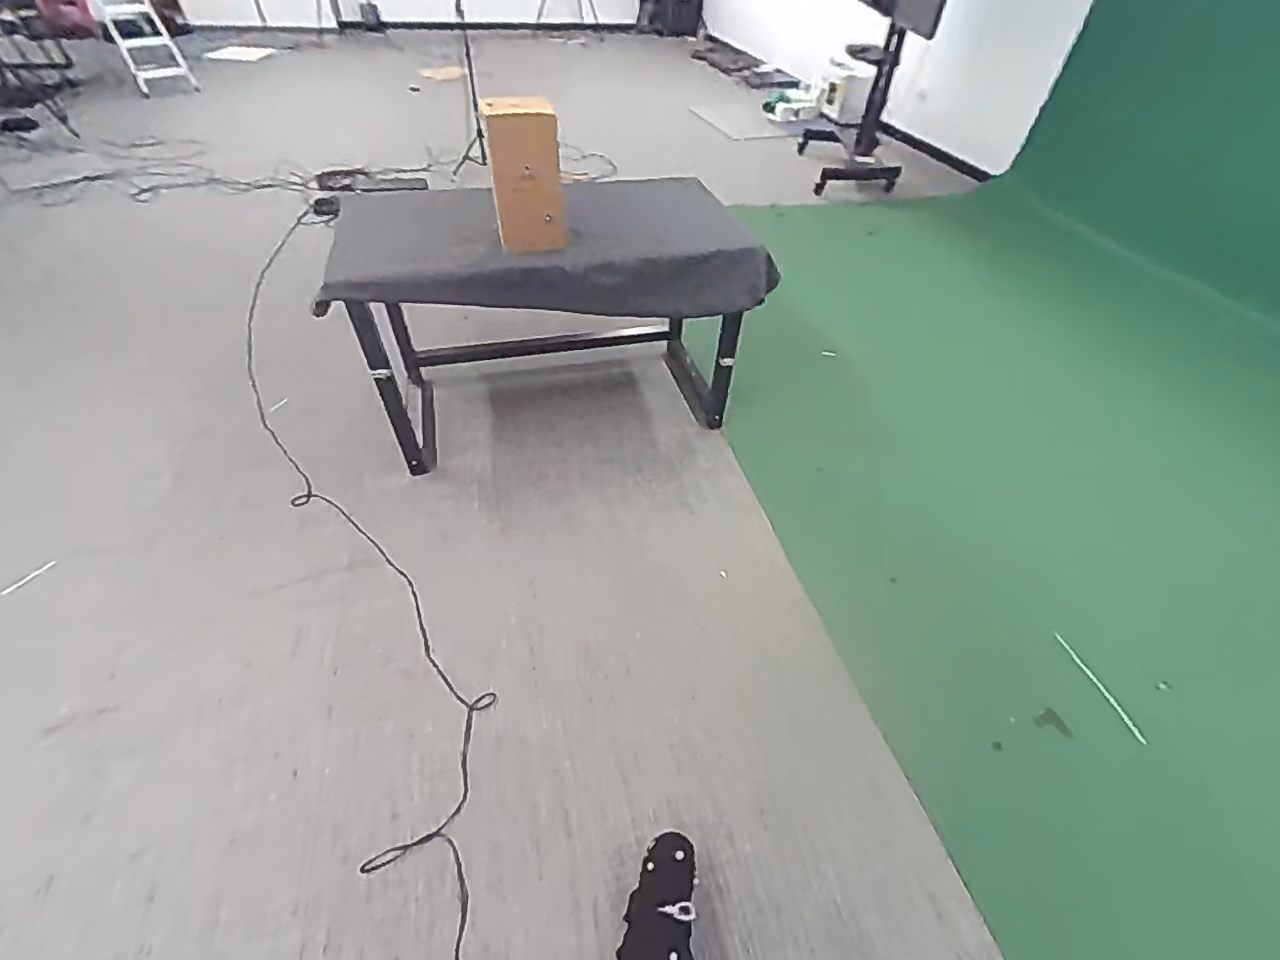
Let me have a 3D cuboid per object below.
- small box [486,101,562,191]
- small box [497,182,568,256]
[{"bbox_3d":[-0.301,-0.873,1.417,0.179,0.176,0.168,-9,47,-12],"label":"small box"},{"bbox_3d":[-0.302,-0.754,1.529,0.179,0.176,0.168,-11,47,-11],"label":"small box"}]
